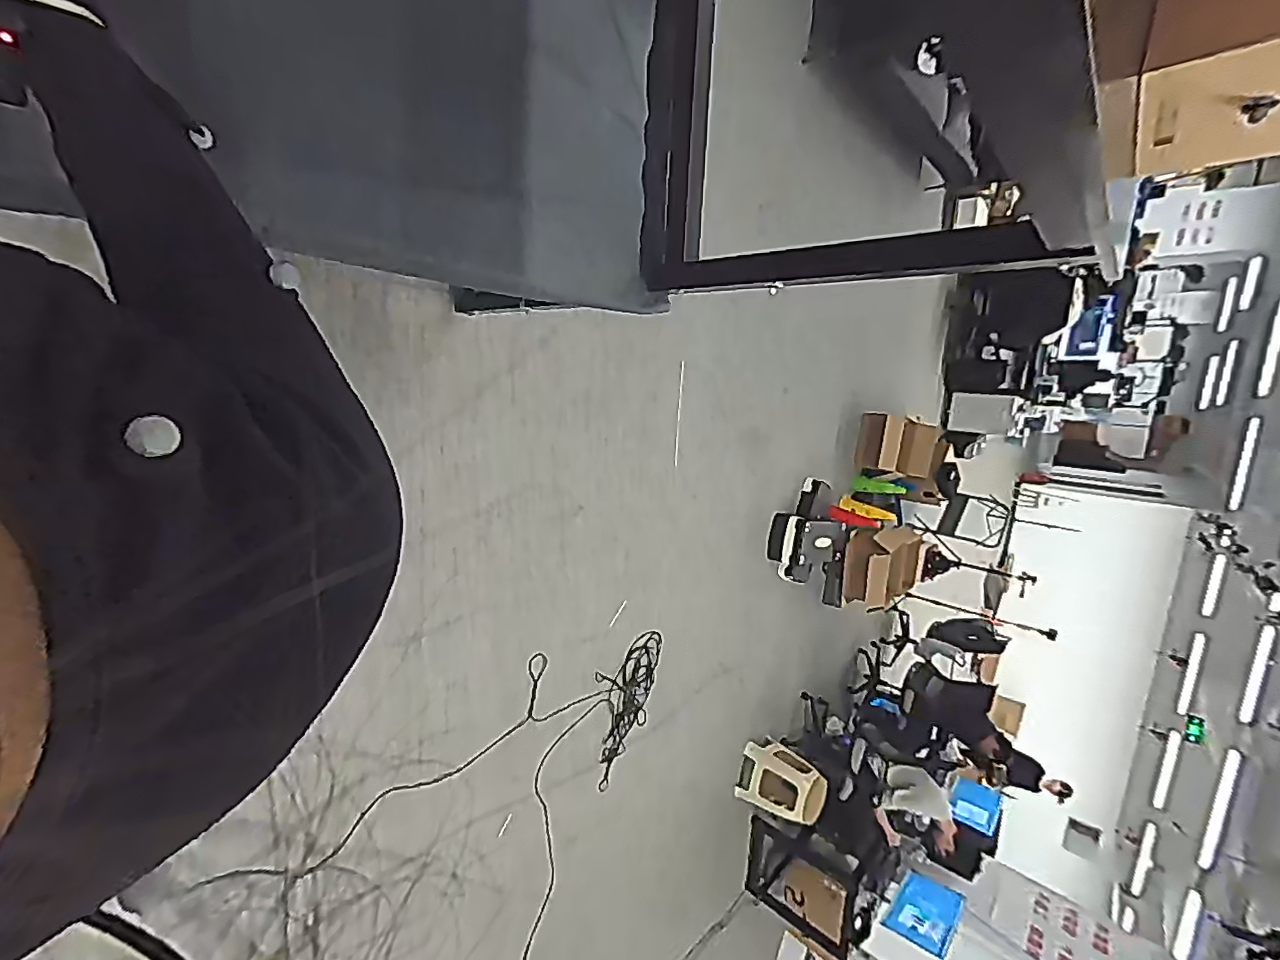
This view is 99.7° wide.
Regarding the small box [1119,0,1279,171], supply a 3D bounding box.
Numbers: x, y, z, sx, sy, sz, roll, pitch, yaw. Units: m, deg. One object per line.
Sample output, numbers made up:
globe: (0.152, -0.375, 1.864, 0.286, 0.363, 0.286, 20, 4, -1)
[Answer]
small box: (0.538, -0.400, 0.462, 0.168, 0.176, 0.179, 9, 93, -50)
